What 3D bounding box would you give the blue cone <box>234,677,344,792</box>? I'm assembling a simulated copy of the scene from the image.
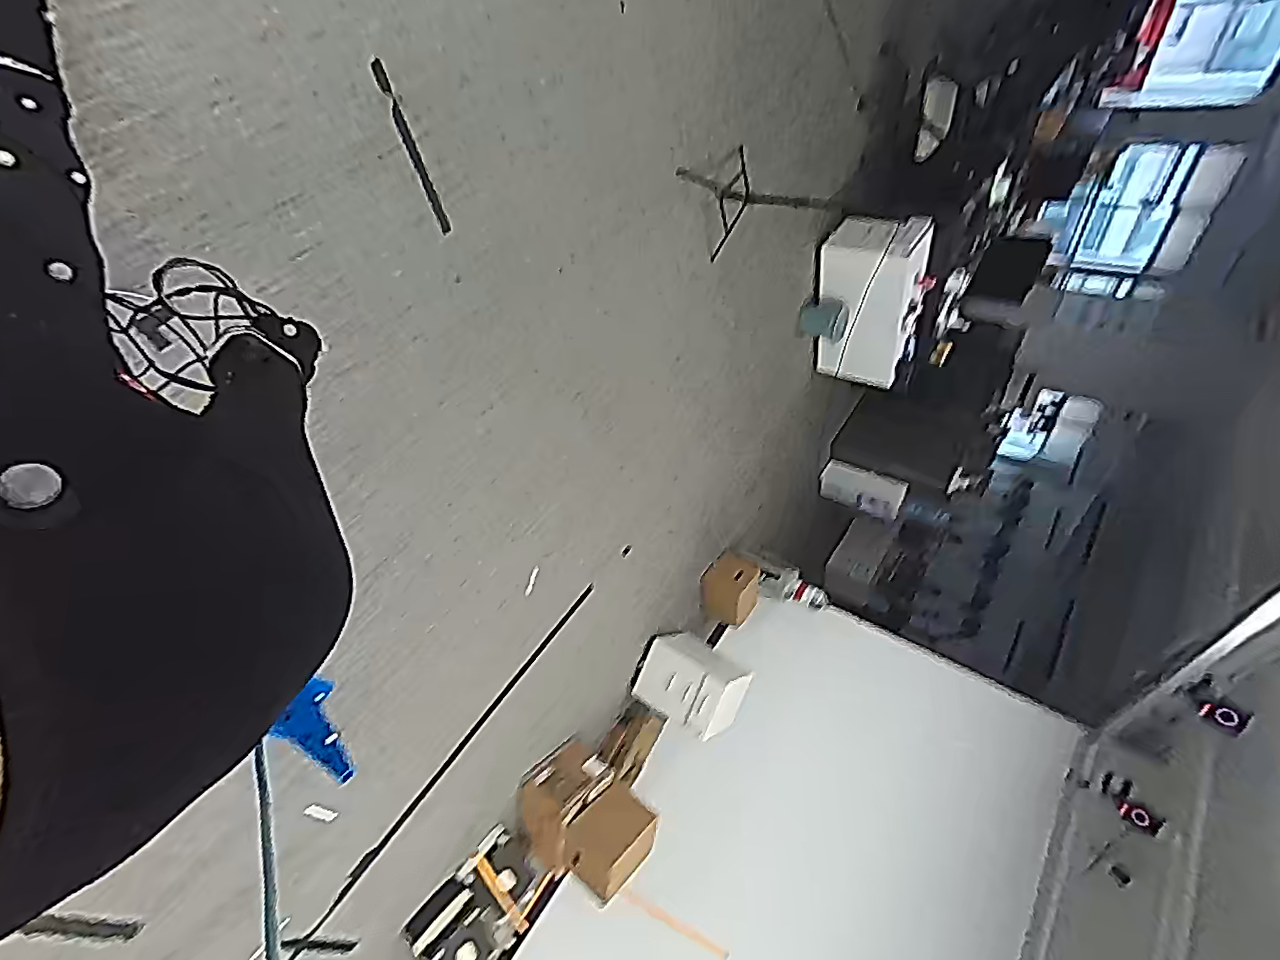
[{"bbox_3d":[-0.949,0.748,1.545,0.192,0.380,0.193,-52,146,-23],"label":"blue cone"}]
